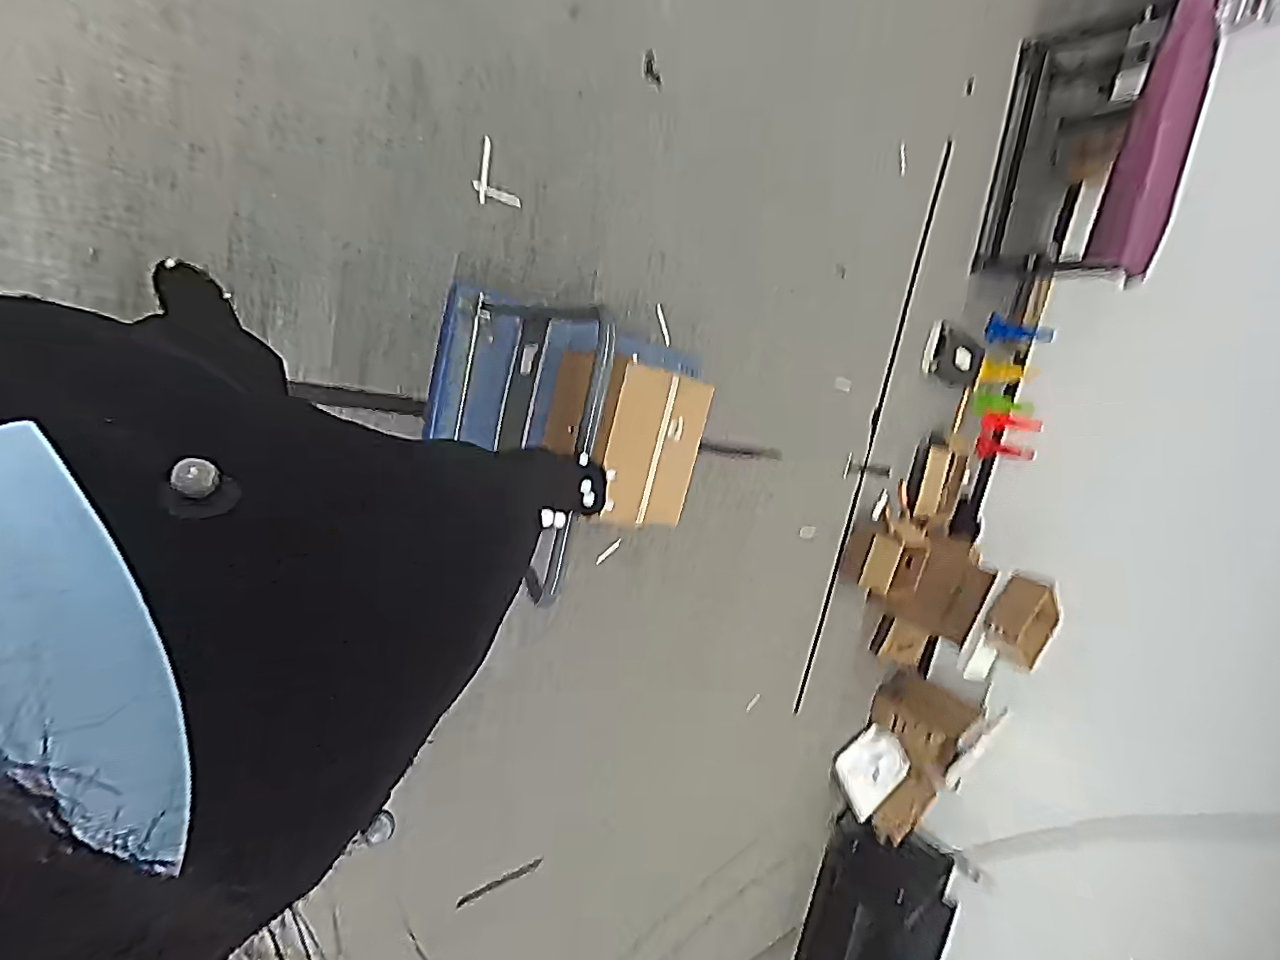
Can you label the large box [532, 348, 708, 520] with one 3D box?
[{"bbox_3d":[-0.065,-0.125,1.495,0.320,0.320,0.408,7,99,-42],"label":"large box"}]
